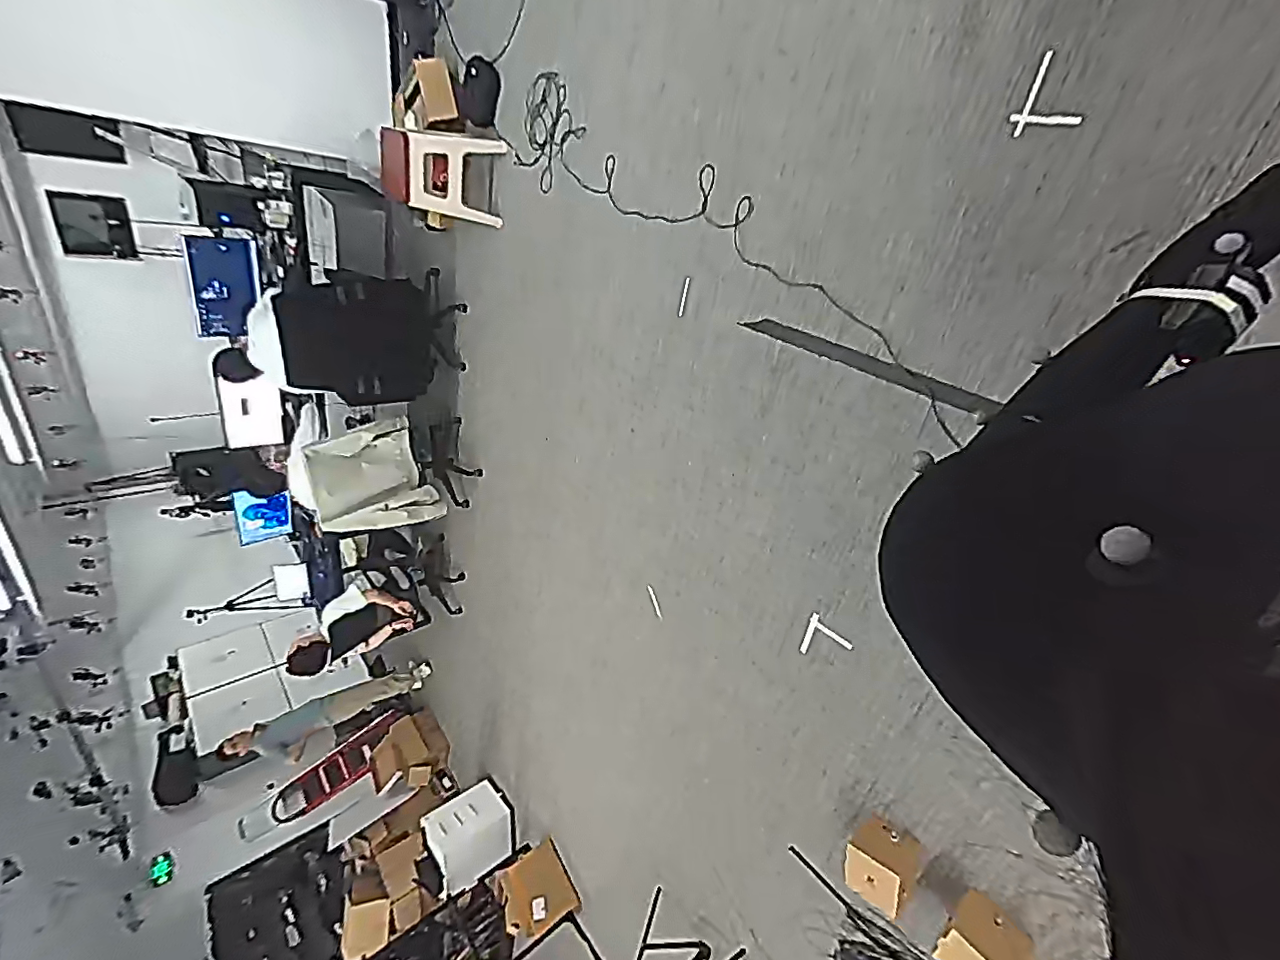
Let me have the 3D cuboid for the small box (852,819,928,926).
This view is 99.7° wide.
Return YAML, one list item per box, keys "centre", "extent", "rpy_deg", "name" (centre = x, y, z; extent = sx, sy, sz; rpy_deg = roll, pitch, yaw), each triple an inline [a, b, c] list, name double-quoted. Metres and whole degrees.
- centre: [0.795, 1.239, 1.720]
  extent: [0.168, 0.176, 0.179]
  rpy_deg: [12, 110, 46]
  name: "small box"

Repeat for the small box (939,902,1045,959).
- centre: [0.992, 1.345, 1.524]
  extent: [0.179, 0.176, 0.168]
  rpy_deg: [34, 125, 38]
  name: "small box"
